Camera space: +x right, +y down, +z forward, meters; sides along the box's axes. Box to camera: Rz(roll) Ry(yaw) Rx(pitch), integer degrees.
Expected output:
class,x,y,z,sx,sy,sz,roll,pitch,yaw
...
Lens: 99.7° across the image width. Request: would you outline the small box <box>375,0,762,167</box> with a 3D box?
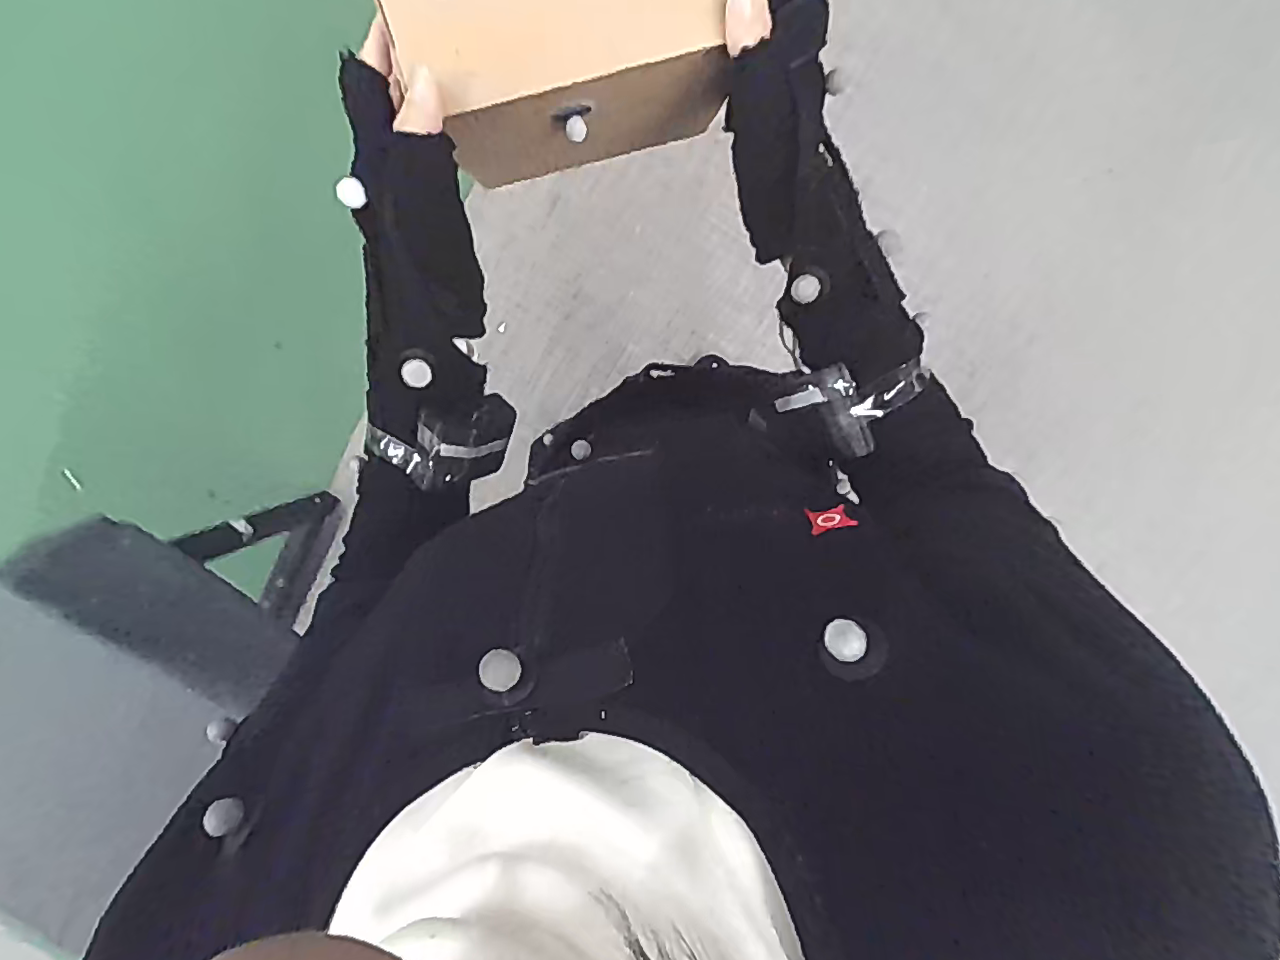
class,x,y,z,sx,sy,sz,roll,pitch,yaw
small box,-0.046,-0.296,0.301,0.179,0.176,0.168,-12,109,1
